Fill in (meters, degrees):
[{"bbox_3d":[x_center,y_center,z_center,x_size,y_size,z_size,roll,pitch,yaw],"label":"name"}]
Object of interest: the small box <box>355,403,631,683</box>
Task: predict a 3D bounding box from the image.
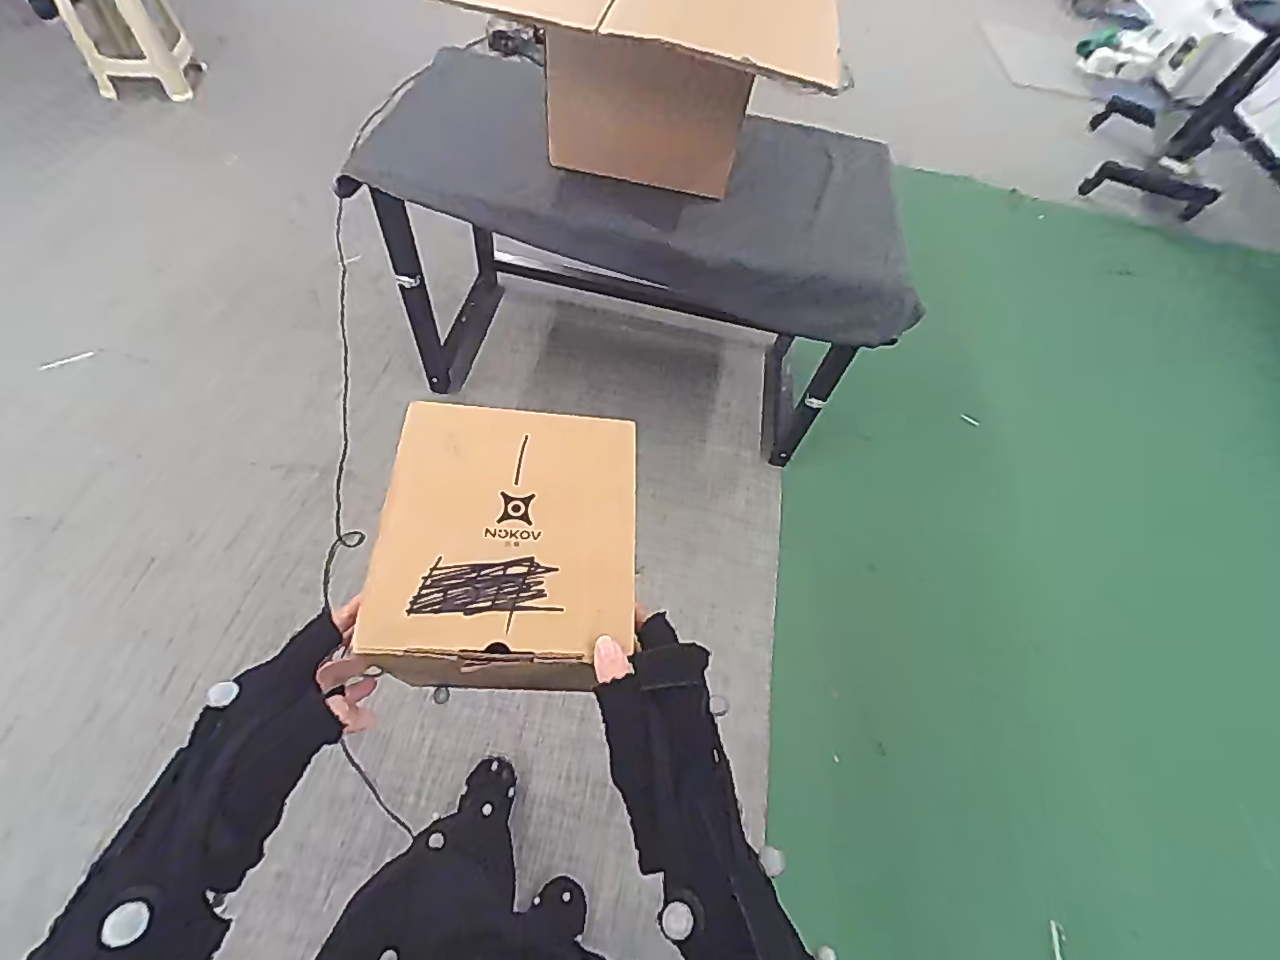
[{"bbox_3d":[-0.099,0.062,0.437,0.168,0.176,0.179,4,61,-8],"label":"small box"}]
